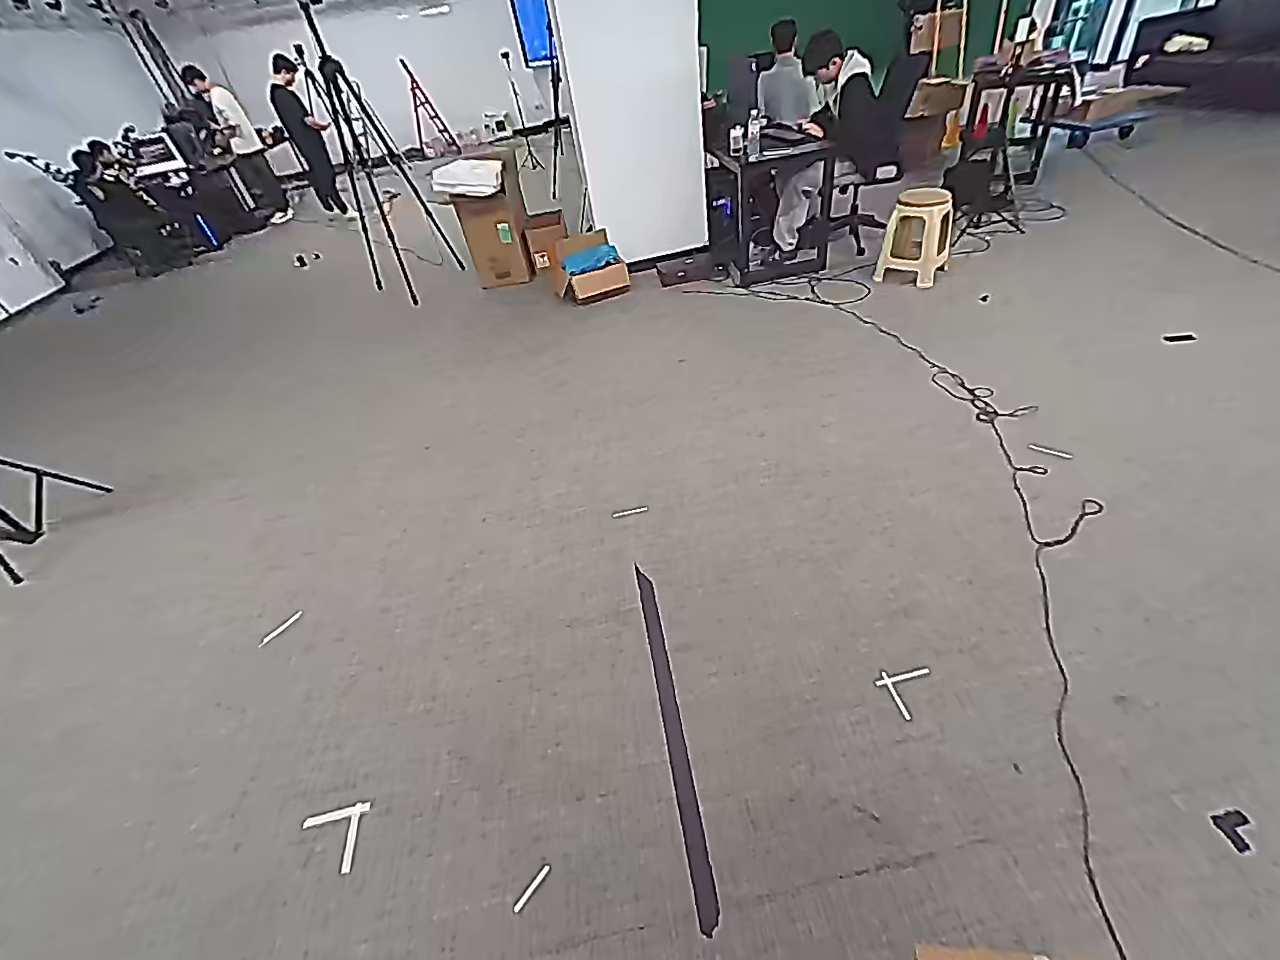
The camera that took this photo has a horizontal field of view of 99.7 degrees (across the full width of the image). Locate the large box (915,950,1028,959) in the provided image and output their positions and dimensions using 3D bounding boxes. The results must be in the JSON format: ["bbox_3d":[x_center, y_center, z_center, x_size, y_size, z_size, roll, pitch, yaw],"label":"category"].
[{"bbox_3d":[0.488,0.764,0.501,0.320,0.408,0.320,-4,84,12],"label":"large box"}]
